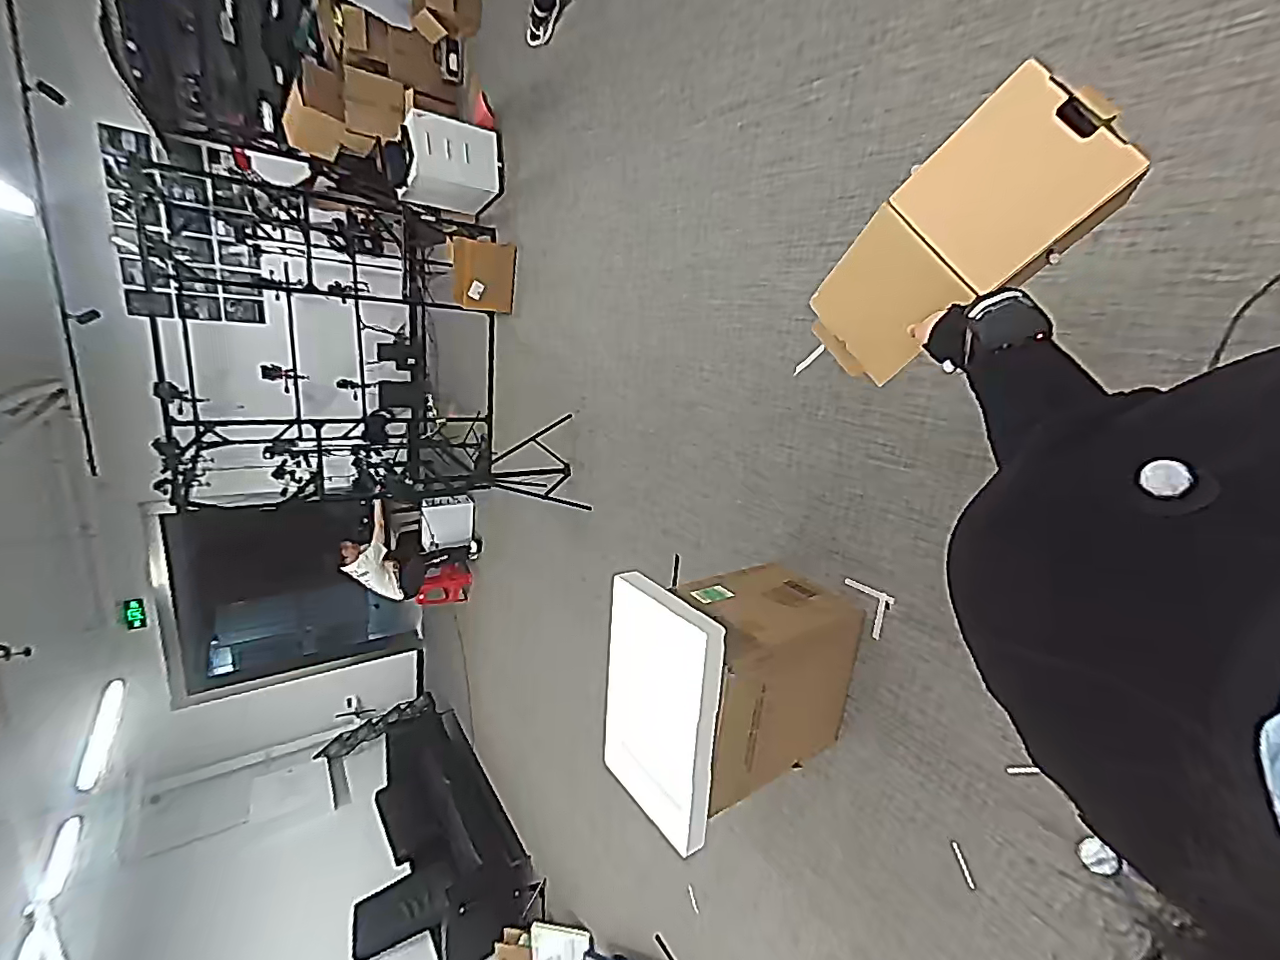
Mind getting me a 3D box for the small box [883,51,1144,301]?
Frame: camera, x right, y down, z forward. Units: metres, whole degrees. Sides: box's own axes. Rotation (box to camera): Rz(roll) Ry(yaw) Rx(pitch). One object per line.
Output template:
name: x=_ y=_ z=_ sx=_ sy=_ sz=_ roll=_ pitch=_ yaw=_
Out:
small box: x=0.427 y=-0.332 z=0.636 sx=0.179 sy=0.176 sz=0.168 roll=-43 pitch=76 yaw=33
